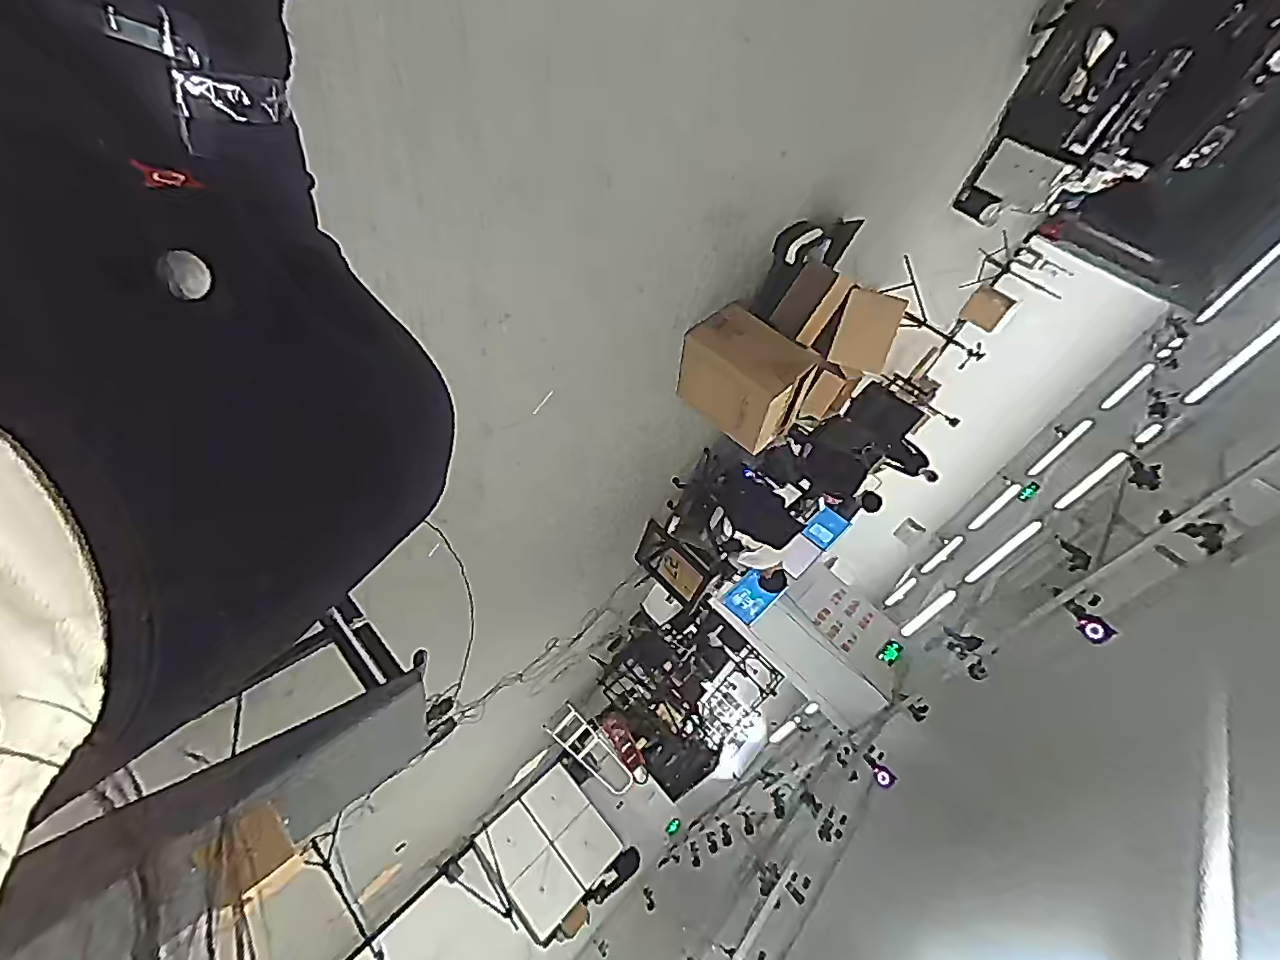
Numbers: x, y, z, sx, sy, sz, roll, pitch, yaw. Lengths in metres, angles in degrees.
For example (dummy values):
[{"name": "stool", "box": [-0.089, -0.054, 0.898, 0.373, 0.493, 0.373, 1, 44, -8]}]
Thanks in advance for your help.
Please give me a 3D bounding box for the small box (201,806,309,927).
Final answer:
[{"name": "small box", "box": [-1.001, 1.001, 1.406, 0.179, 0.176, 0.168, -30, 153, -41]}]
